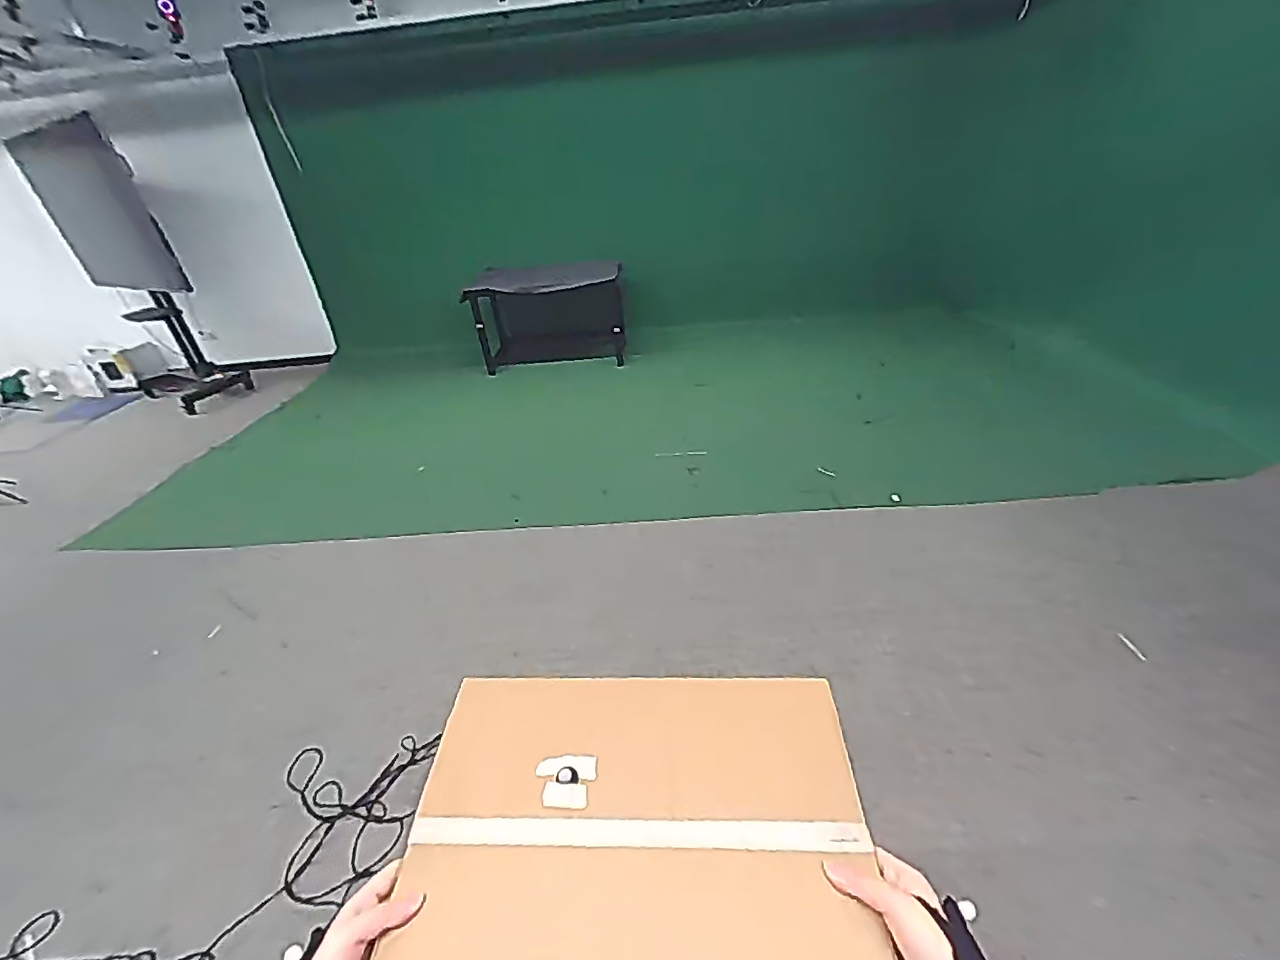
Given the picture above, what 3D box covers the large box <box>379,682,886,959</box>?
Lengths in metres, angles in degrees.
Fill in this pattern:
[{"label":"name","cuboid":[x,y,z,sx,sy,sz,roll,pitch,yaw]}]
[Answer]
[{"label":"large box","cuboid":[0.006,0.442,0.573,0.408,0.320,0.320,-3,37,5]}]
